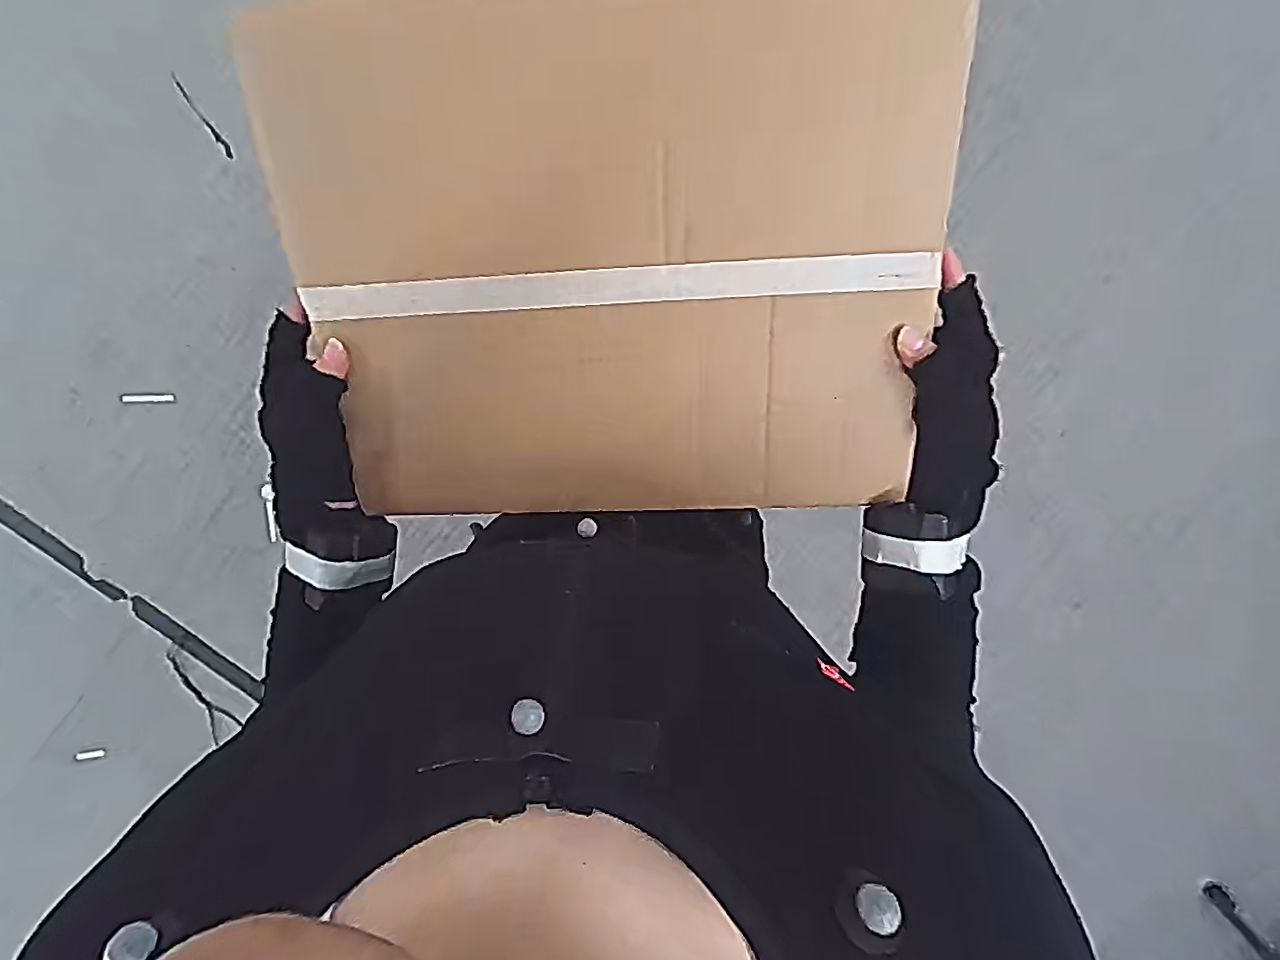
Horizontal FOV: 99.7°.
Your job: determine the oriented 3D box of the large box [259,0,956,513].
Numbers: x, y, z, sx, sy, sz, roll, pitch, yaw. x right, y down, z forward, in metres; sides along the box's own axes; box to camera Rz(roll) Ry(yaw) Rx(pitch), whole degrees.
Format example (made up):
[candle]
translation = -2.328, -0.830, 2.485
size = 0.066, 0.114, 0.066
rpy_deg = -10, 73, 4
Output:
[large box]
translation = -0.012, -0.182, 0.495
size = 0.408, 0.320, 0.320
rpy_deg = -2, 114, 4
